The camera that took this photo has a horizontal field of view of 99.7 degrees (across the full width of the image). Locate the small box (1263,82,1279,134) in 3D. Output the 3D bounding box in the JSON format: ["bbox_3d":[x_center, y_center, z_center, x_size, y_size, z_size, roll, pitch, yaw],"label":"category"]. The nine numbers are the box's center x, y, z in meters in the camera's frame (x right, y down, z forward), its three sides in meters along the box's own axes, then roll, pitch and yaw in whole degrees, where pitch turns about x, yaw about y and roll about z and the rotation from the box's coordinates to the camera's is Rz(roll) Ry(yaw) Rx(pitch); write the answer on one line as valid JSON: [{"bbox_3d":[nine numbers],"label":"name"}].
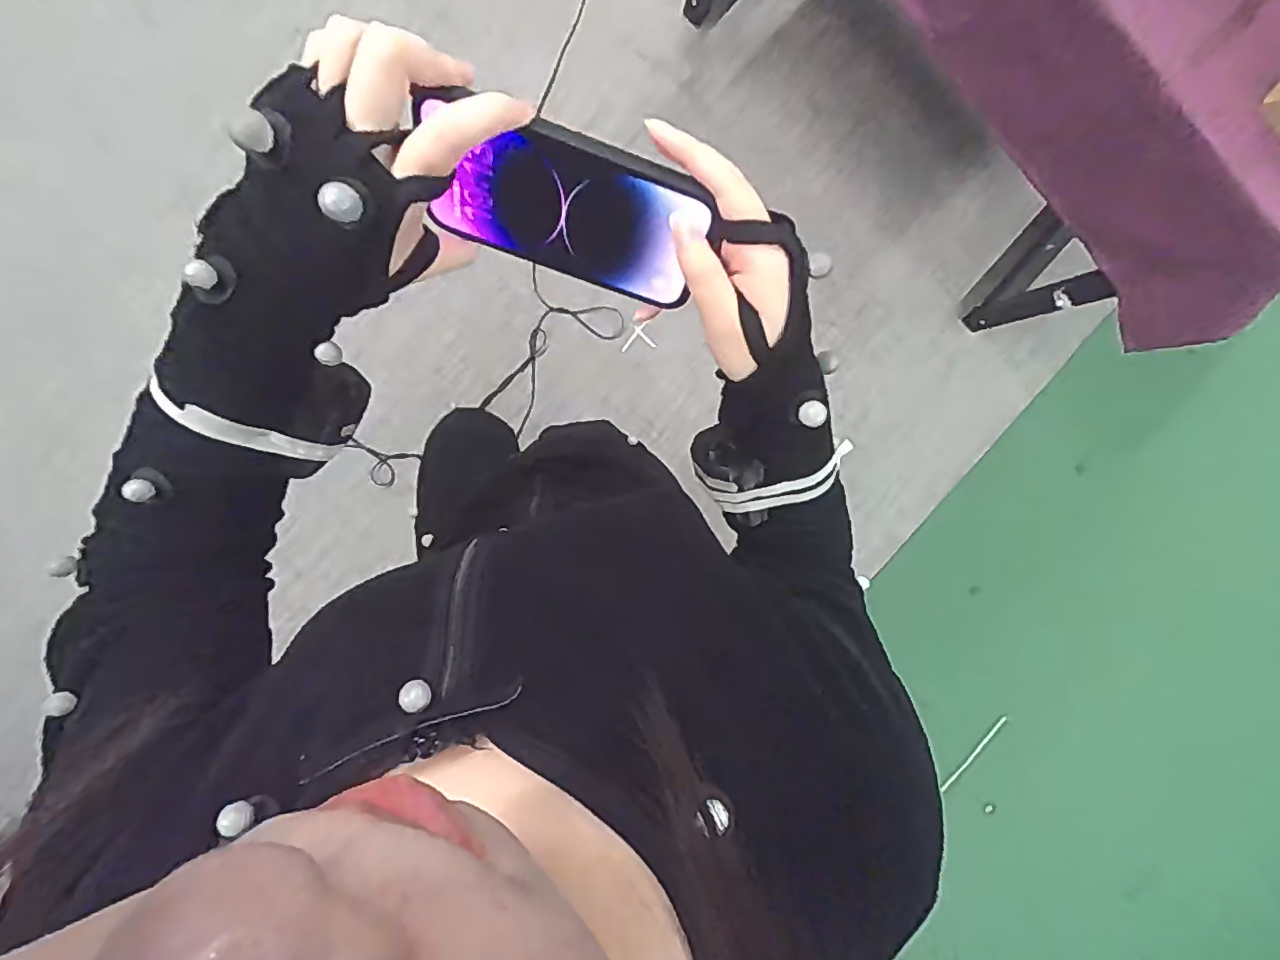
[{"bbox_3d":[1.059,-0.556,0.751,0.179,0.176,0.168,42,89,-9],"label":"small box"}]
